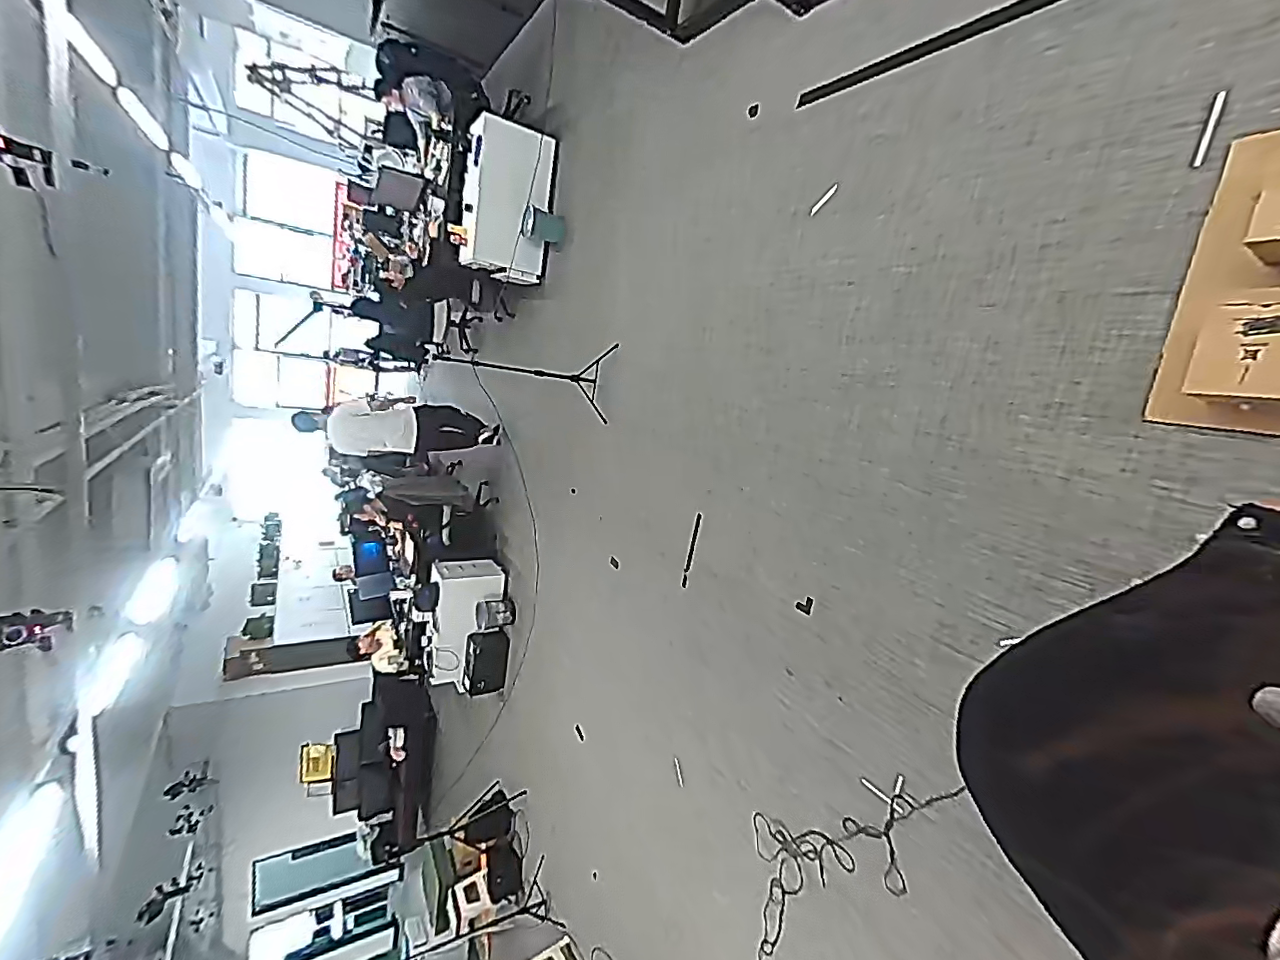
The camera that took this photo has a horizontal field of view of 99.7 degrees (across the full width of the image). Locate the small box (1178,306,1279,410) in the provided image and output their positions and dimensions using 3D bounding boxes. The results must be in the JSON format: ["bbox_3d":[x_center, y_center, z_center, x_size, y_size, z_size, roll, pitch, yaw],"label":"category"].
[{"bbox_3d":[1.215,-0.237,1.062,0.168,0.176,0.179,24,109,56],"label":"small box"}]

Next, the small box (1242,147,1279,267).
[{"bbox_3d":[1.270,-0.509,0.993,0.168,0.176,0.179,25,109,56],"label":"small box"}]
